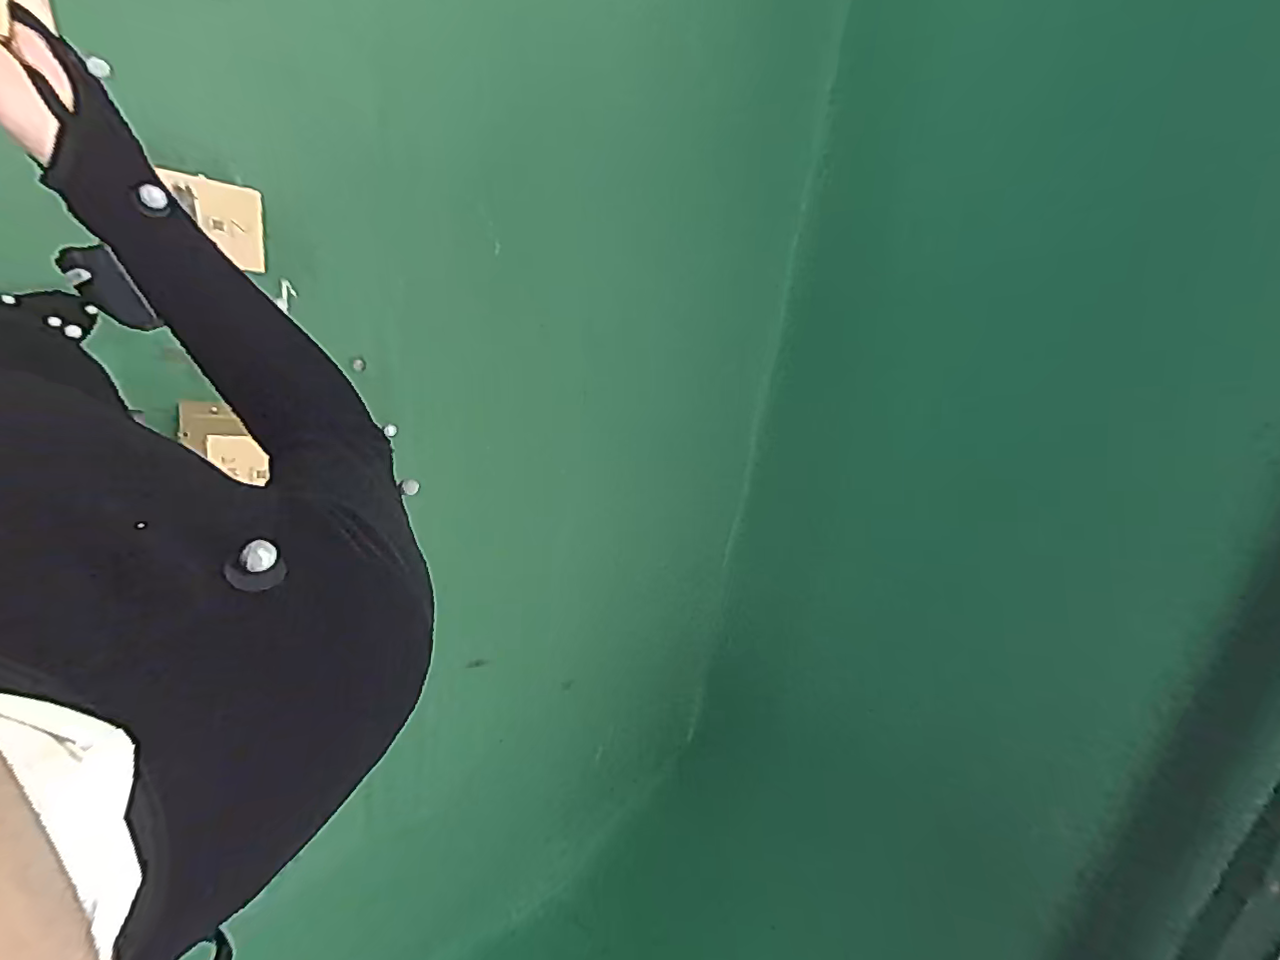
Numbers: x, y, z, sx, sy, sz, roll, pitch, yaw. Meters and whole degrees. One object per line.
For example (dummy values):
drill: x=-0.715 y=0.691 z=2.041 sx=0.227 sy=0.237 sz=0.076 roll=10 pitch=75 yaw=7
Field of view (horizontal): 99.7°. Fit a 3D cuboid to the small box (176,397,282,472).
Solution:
small box: x=-0.991 y=-0.101 z=1.304 sx=0.179 sy=0.176 sz=0.168 roll=-4 pitch=111 yaw=-47
